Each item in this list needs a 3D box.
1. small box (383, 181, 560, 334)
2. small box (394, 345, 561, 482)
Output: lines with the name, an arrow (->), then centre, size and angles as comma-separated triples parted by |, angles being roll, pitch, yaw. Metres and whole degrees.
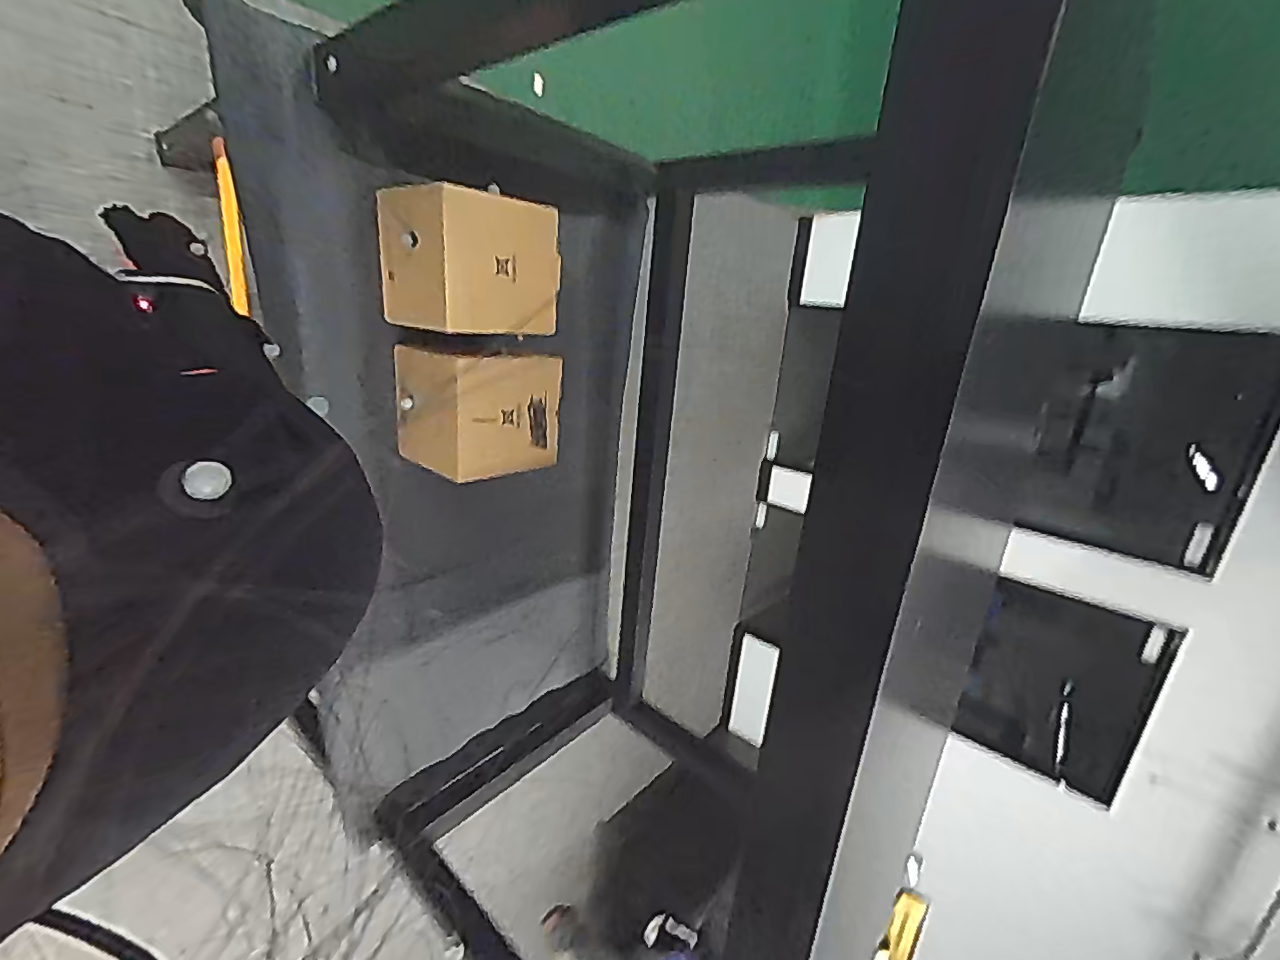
small box -> -0.232, -0.293, 0.738 | 0.179, 0.176, 0.168 | -16, 118, -48
small box -> -0.242, -0.109, 0.806 | 0.179, 0.176, 0.168 | -14, 115, -48
